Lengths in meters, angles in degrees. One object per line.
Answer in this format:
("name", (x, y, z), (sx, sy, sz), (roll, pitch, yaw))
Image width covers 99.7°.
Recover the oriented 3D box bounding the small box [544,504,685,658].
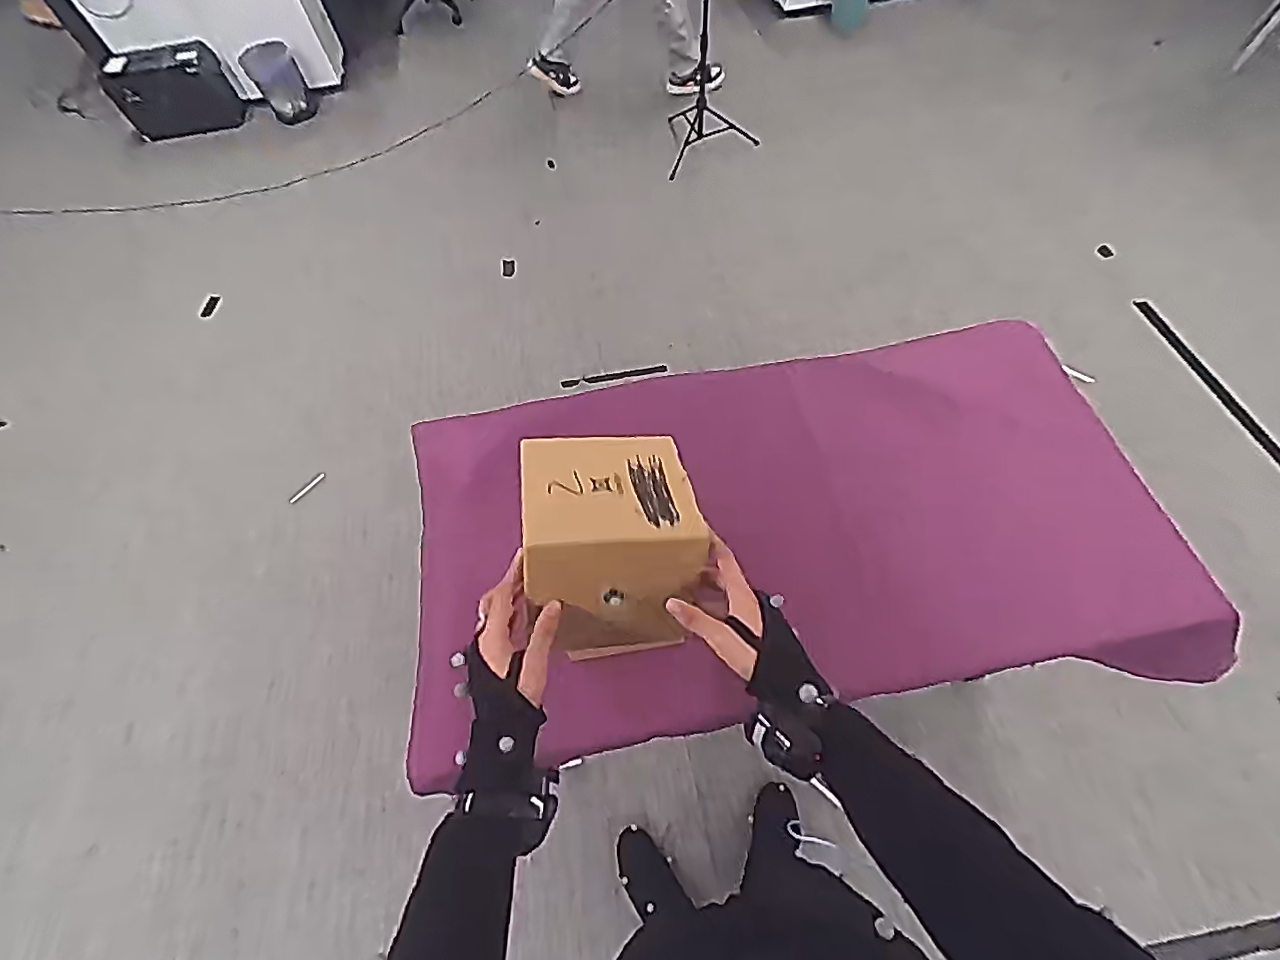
("small box", (-0.036, 0.154, 0.795), (0.179, 0.176, 0.168), (-9, 61, -1))
